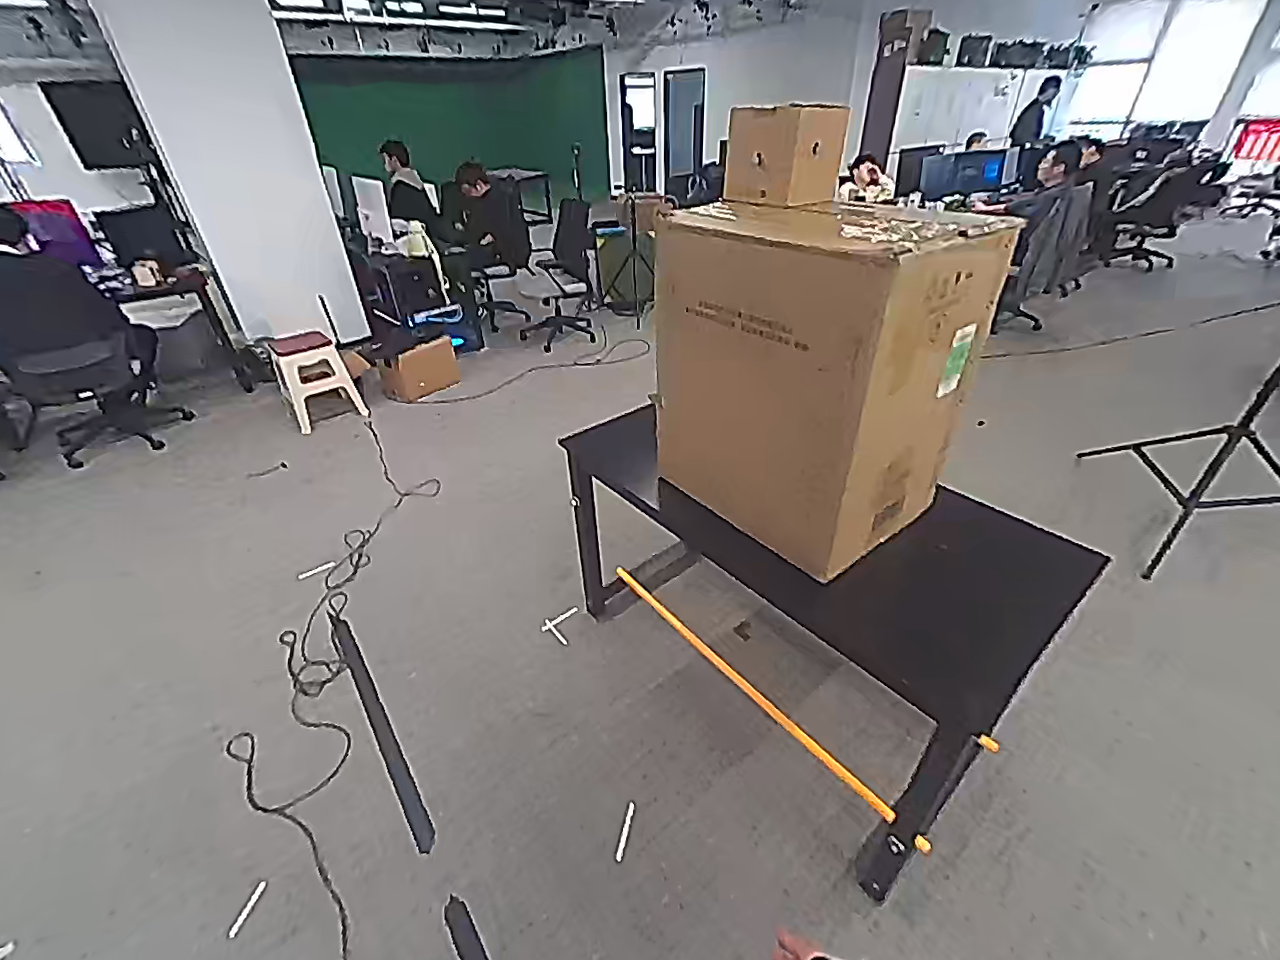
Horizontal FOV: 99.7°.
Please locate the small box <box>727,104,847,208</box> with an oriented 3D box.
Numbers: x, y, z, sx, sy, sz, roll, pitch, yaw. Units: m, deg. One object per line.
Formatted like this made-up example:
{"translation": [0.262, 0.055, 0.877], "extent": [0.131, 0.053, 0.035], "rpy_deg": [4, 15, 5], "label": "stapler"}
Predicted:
{"translation": [0.292, -0.659, 1.102], "extent": [0.179, 0.176, 0.168], "rpy_deg": [-28, 42, -34], "label": "small box"}
